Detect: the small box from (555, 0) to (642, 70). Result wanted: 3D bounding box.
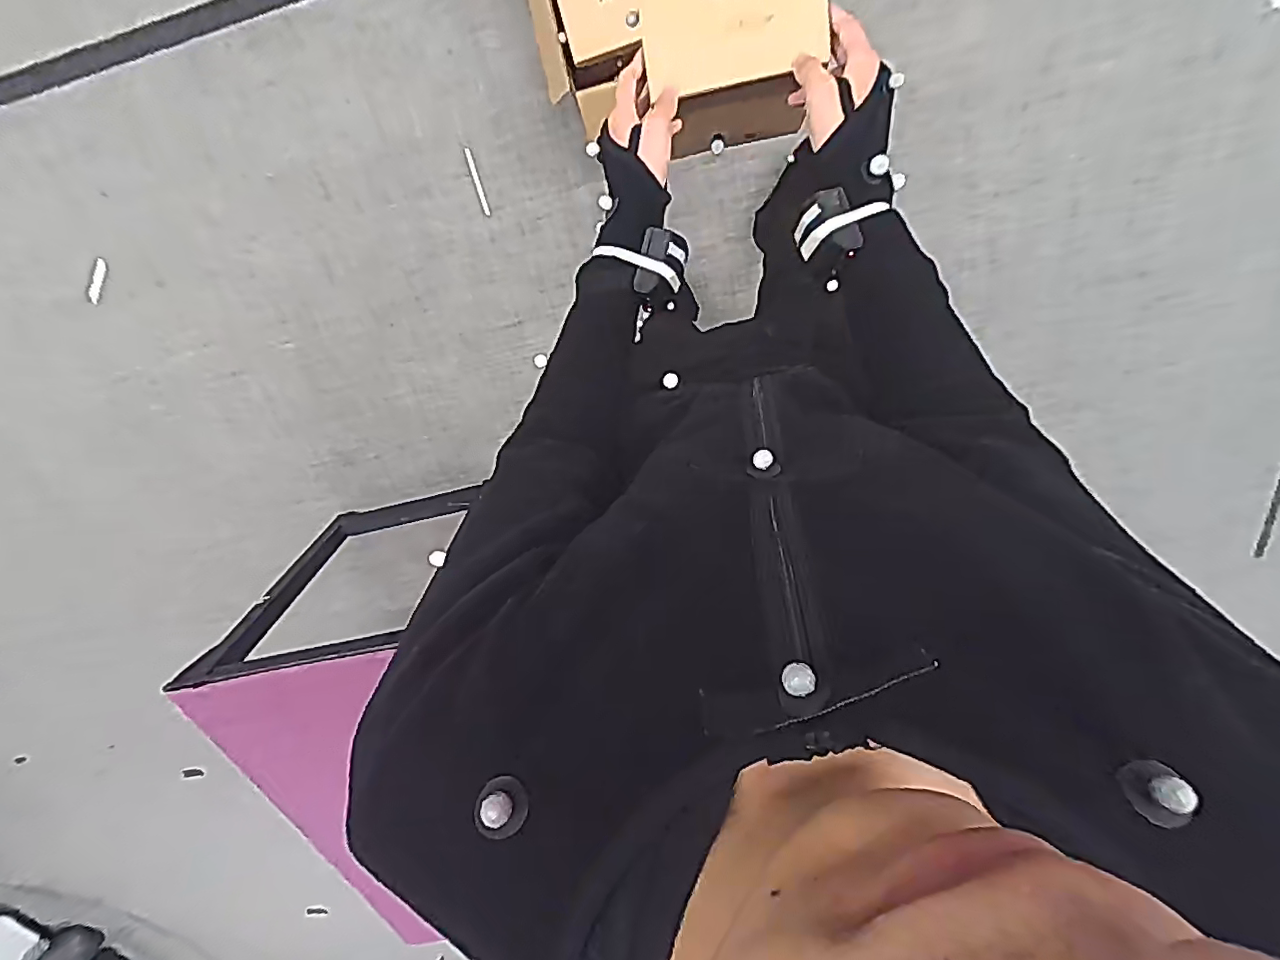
[{"bbox_3d":[-0.064,-0.865,0.969,0.168,0.176,0.179,-14,119,7],"label":"small box"}]

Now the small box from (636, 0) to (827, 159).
[{"bbox_3d":[0.084,-0.462,0.550,0.168,0.176,0.179,-7,102,9],"label":"small box"}]
